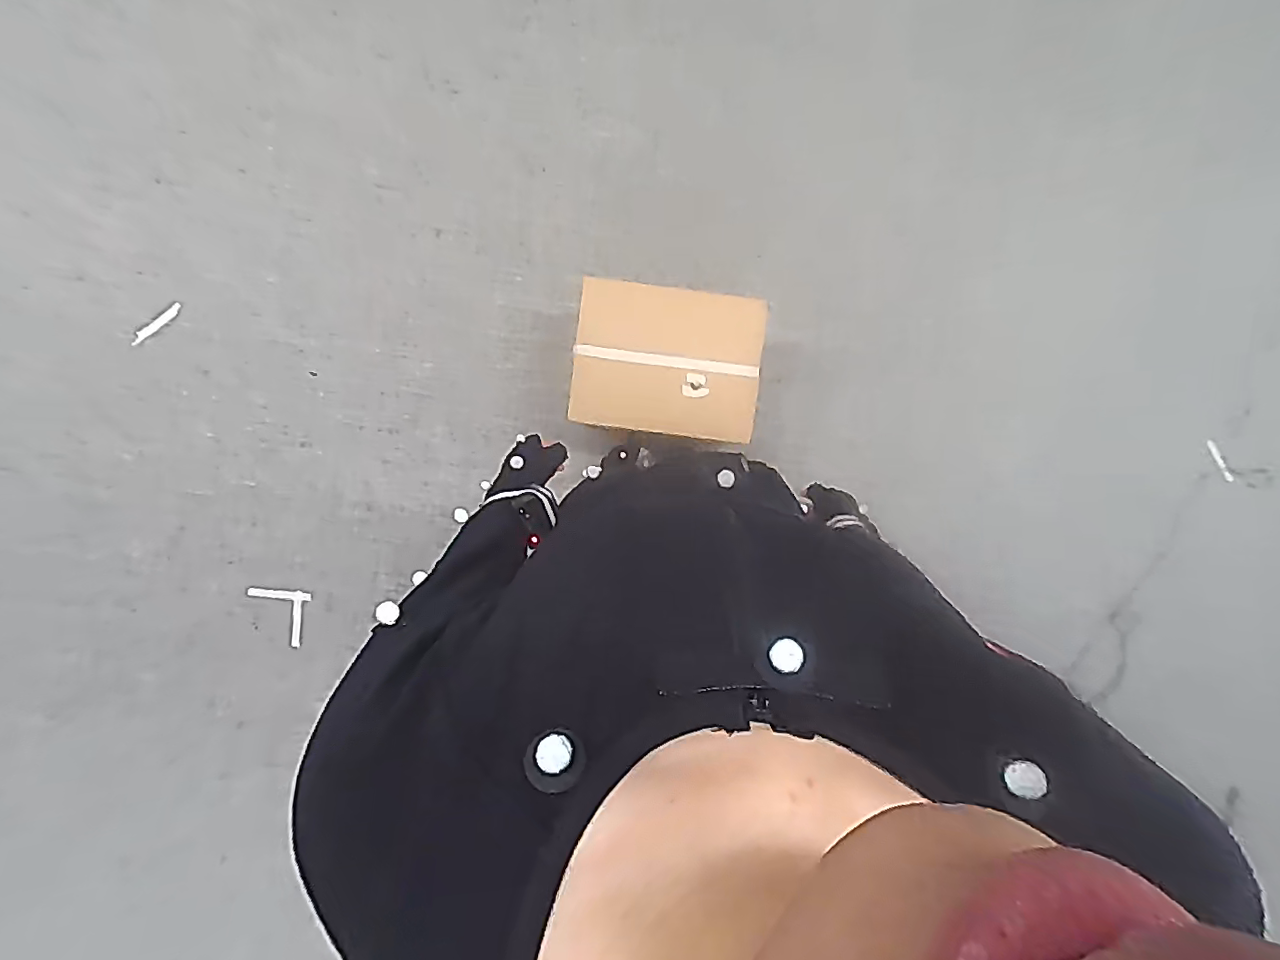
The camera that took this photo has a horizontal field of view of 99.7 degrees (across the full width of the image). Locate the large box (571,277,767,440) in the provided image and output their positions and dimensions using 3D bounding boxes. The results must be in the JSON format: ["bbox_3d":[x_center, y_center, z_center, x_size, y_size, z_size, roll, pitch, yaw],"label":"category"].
[{"bbox_3d":[0.056,-0.272,1.318,0.408,0.320,0.320,7,94,-2],"label":"large box"}]
